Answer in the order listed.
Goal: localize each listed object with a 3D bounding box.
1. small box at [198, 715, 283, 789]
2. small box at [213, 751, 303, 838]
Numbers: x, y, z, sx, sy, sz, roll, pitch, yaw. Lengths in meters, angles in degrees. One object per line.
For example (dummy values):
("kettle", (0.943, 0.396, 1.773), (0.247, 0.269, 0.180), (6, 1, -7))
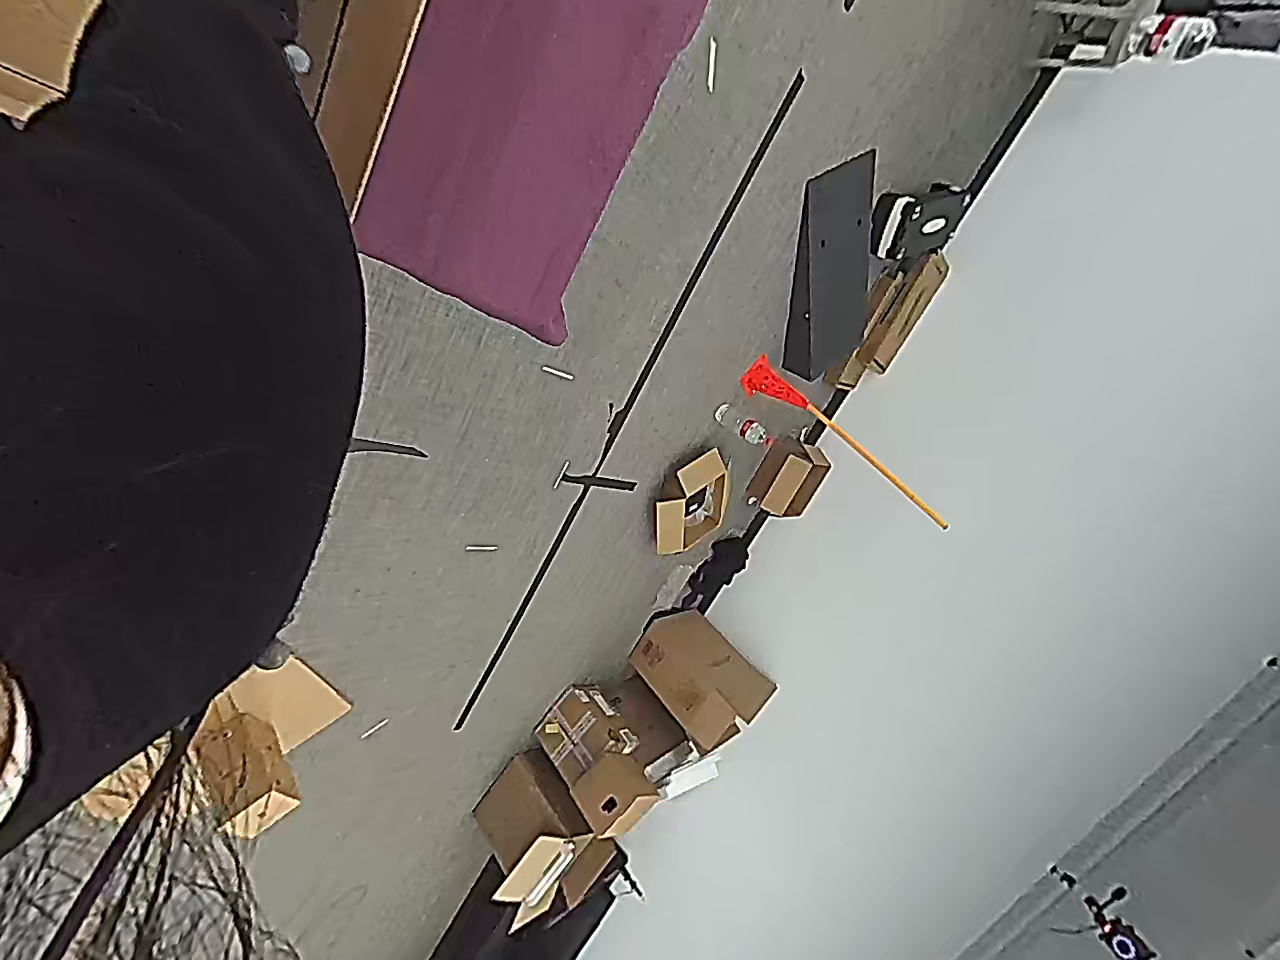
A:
("small box", (-1.369, 0.946, 1.862), (0.168, 0.176, 0.179), (-35, 143, -21))
("small box", (-1.255, 1.026, 1.774), (0.168, 0.176, 0.179), (-33, 144, -22))
